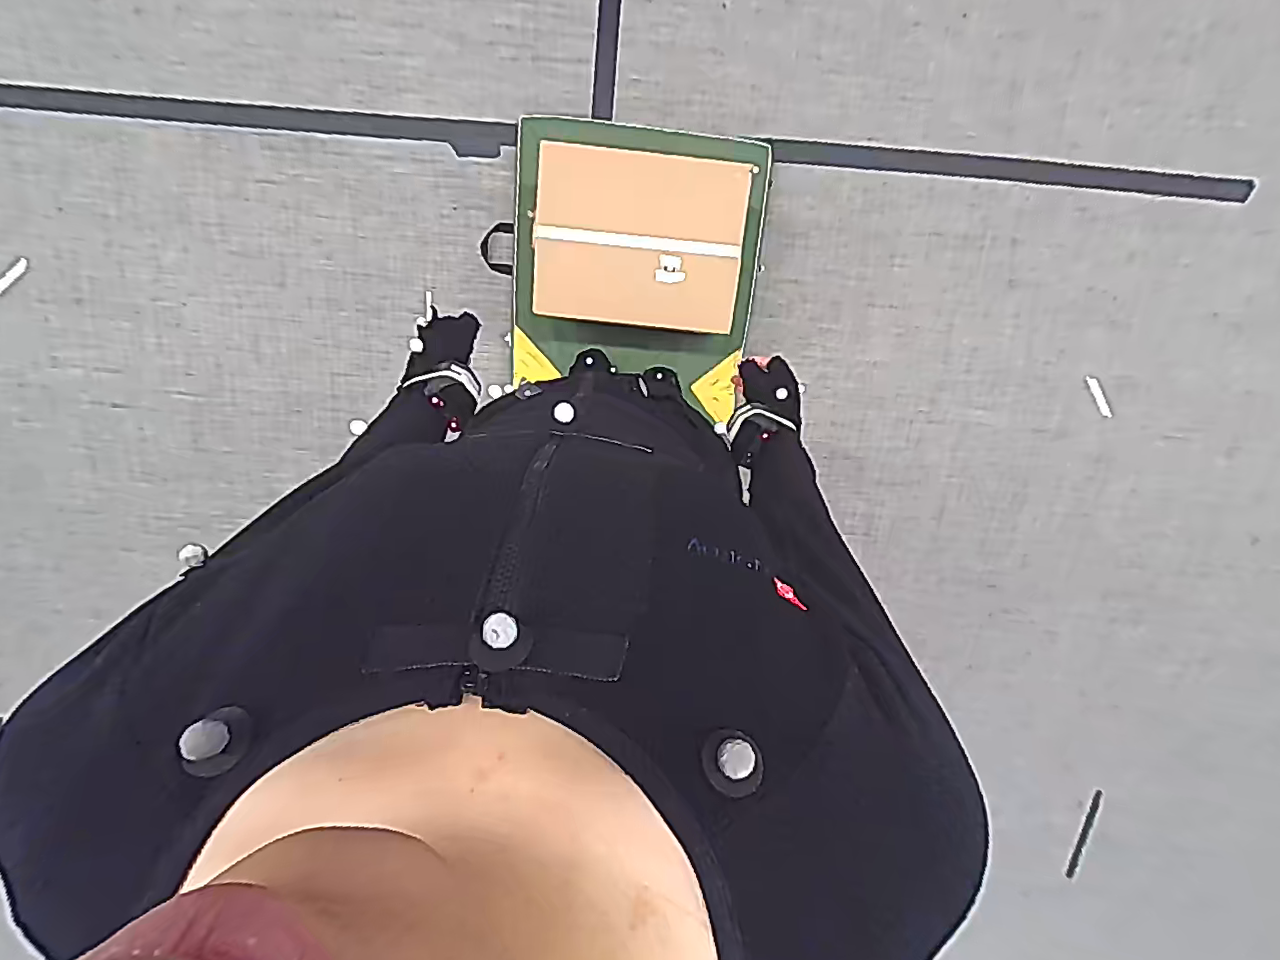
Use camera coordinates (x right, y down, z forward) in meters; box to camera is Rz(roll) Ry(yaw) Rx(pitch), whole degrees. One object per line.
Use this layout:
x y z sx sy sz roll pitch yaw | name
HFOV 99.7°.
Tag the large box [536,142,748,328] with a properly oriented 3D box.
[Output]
-0.007 -0.516 1.207 0.408 0.320 0.320 5 106 -2 | large box
